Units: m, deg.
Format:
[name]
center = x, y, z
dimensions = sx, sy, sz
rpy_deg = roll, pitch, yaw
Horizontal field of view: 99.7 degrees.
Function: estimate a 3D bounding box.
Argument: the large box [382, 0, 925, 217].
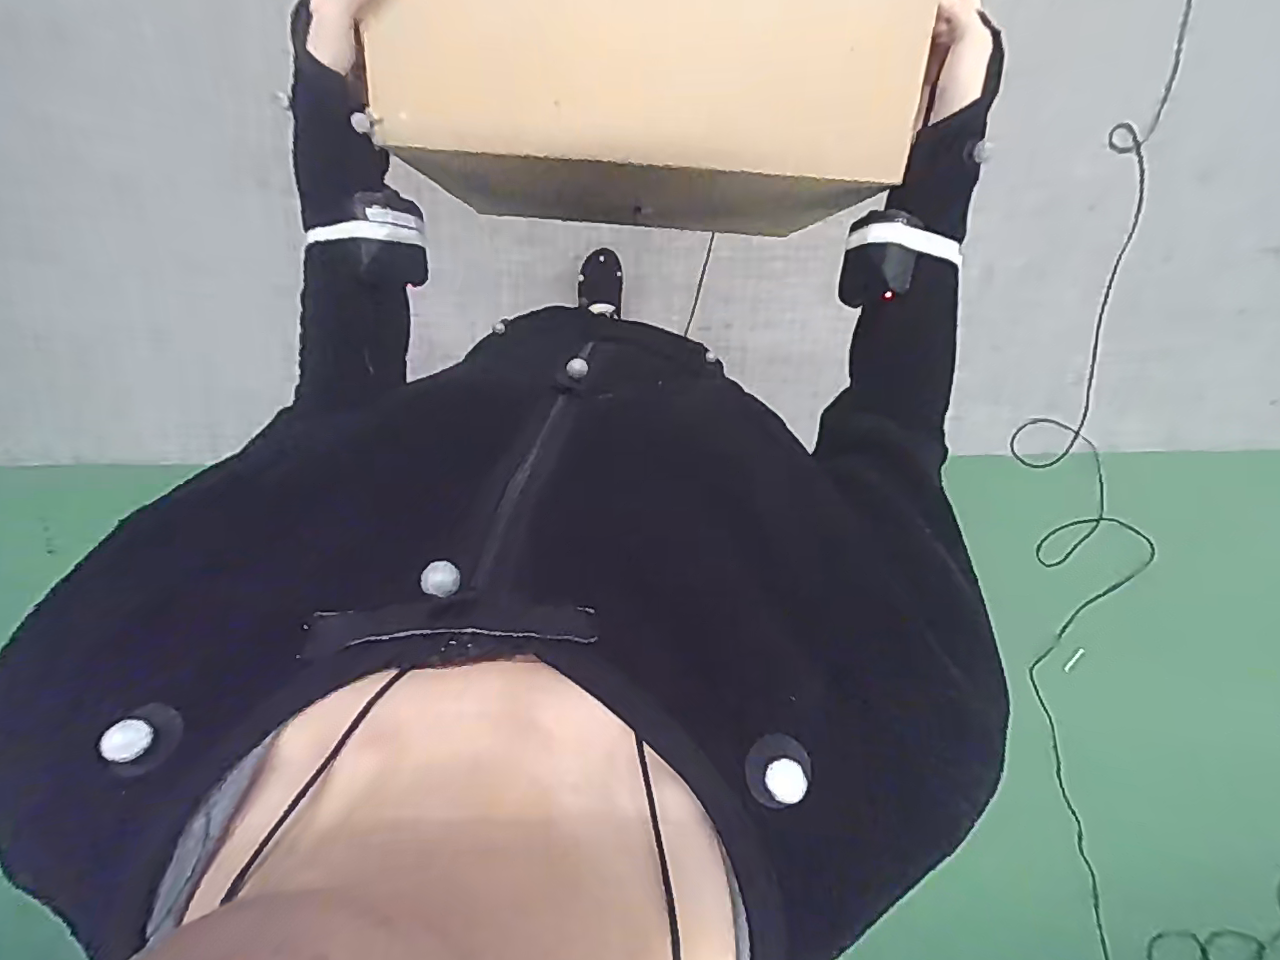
[large box]
center = 0.013, -0.446, 0.518
dimensions = 0.408, 0.320, 0.320
rpy_deg = 3, 108, -2
